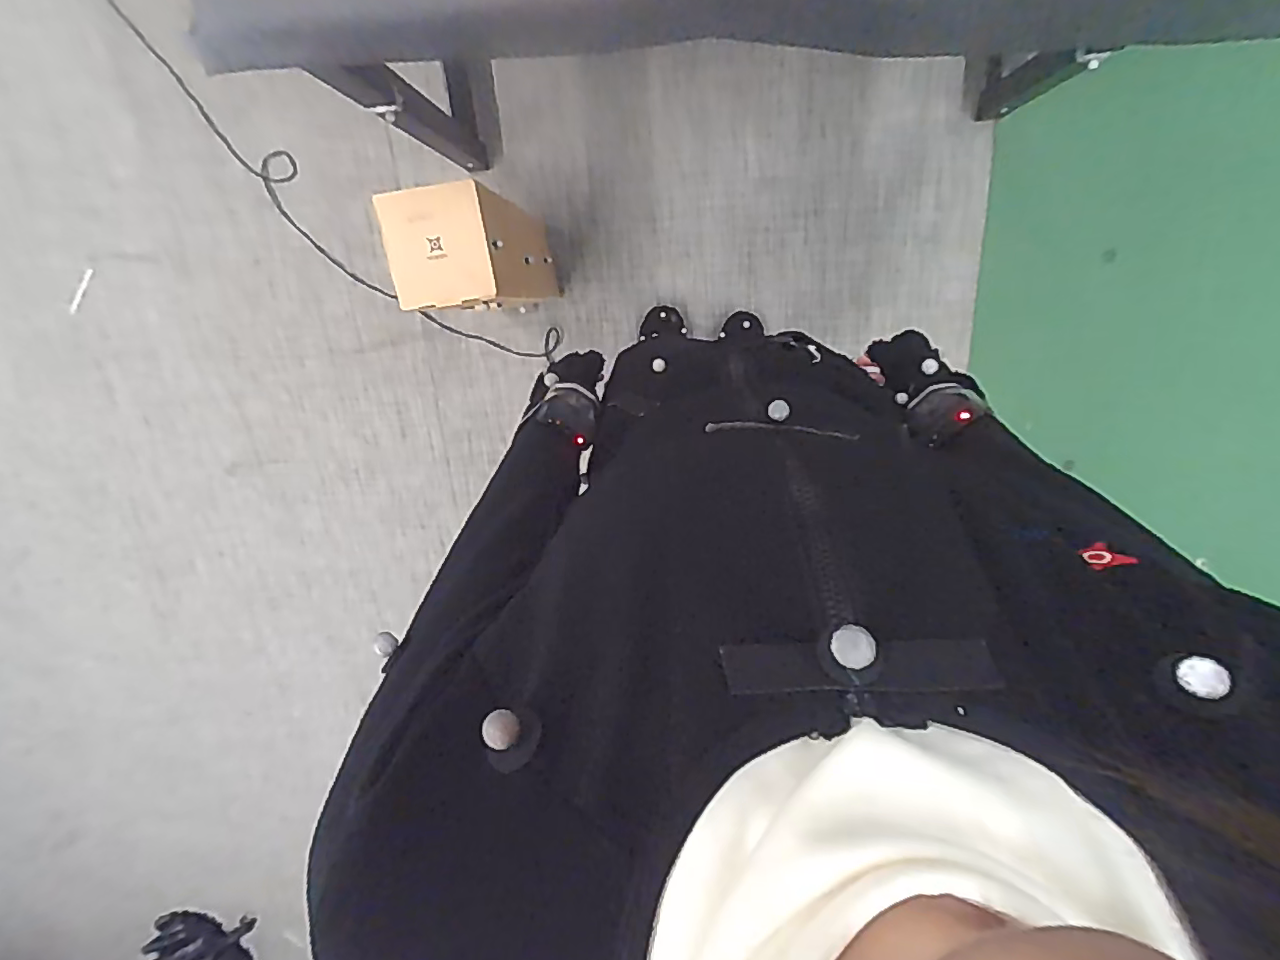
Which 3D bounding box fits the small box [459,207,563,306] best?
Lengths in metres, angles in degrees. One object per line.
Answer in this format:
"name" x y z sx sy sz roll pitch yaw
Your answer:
"small box" -0.286 -0.501 1.235 0.168 0.176 0.179 -9 108 7
